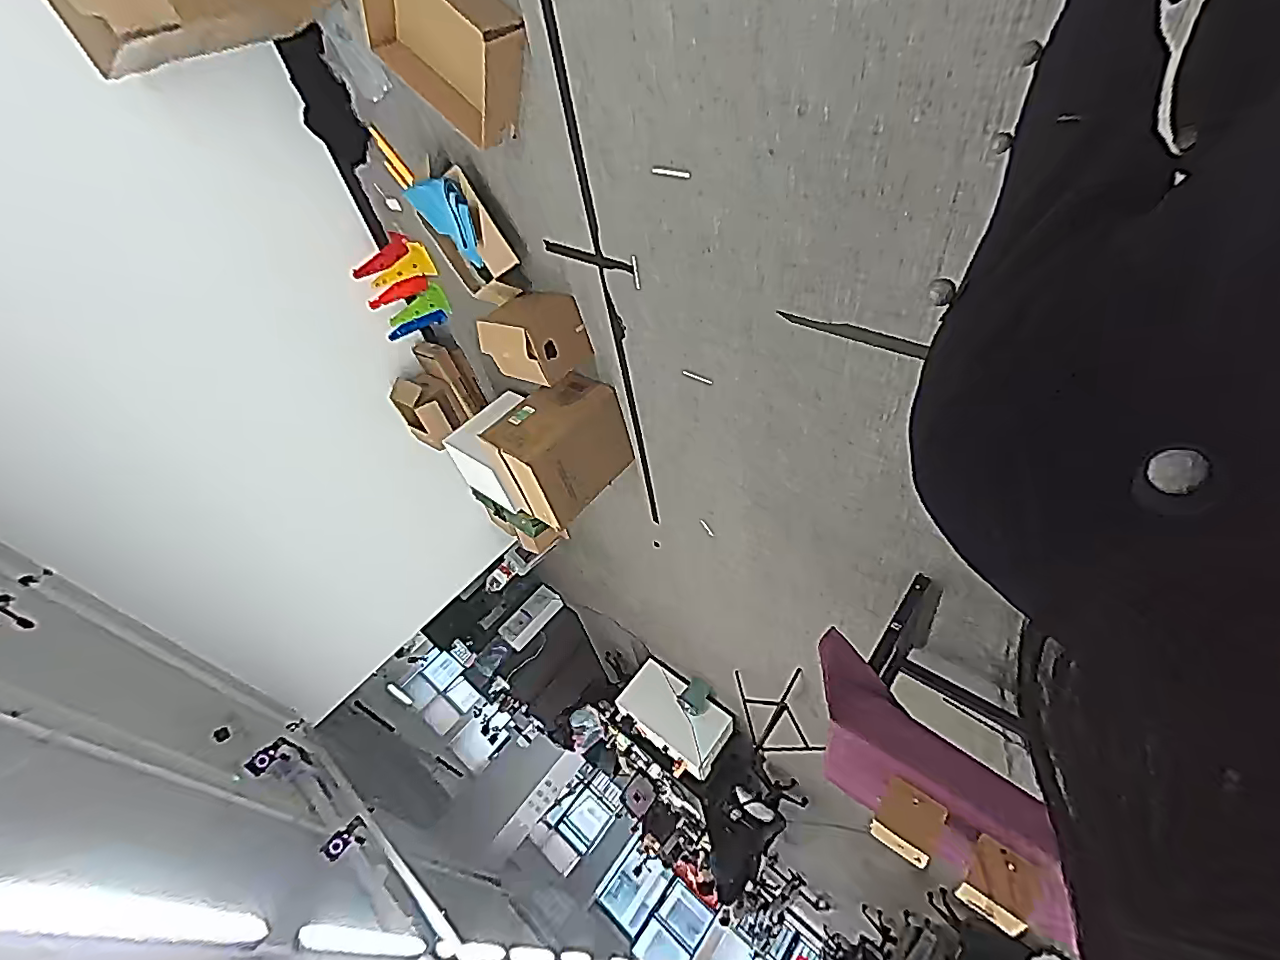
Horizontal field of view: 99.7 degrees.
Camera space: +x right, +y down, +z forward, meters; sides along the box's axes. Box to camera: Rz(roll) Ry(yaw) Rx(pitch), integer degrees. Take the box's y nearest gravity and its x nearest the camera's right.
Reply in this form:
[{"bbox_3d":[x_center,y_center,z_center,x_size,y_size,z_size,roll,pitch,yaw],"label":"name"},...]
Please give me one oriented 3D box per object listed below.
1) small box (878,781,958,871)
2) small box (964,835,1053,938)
[{"bbox_3d":[0.906,1.120,1.768,0.179,0.176,0.168,24,147,37],"label":"small box"},{"bbox_3d":[1.101,1.211,1.616,0.168,0.176,0.179,23,146,37],"label":"small box"}]
